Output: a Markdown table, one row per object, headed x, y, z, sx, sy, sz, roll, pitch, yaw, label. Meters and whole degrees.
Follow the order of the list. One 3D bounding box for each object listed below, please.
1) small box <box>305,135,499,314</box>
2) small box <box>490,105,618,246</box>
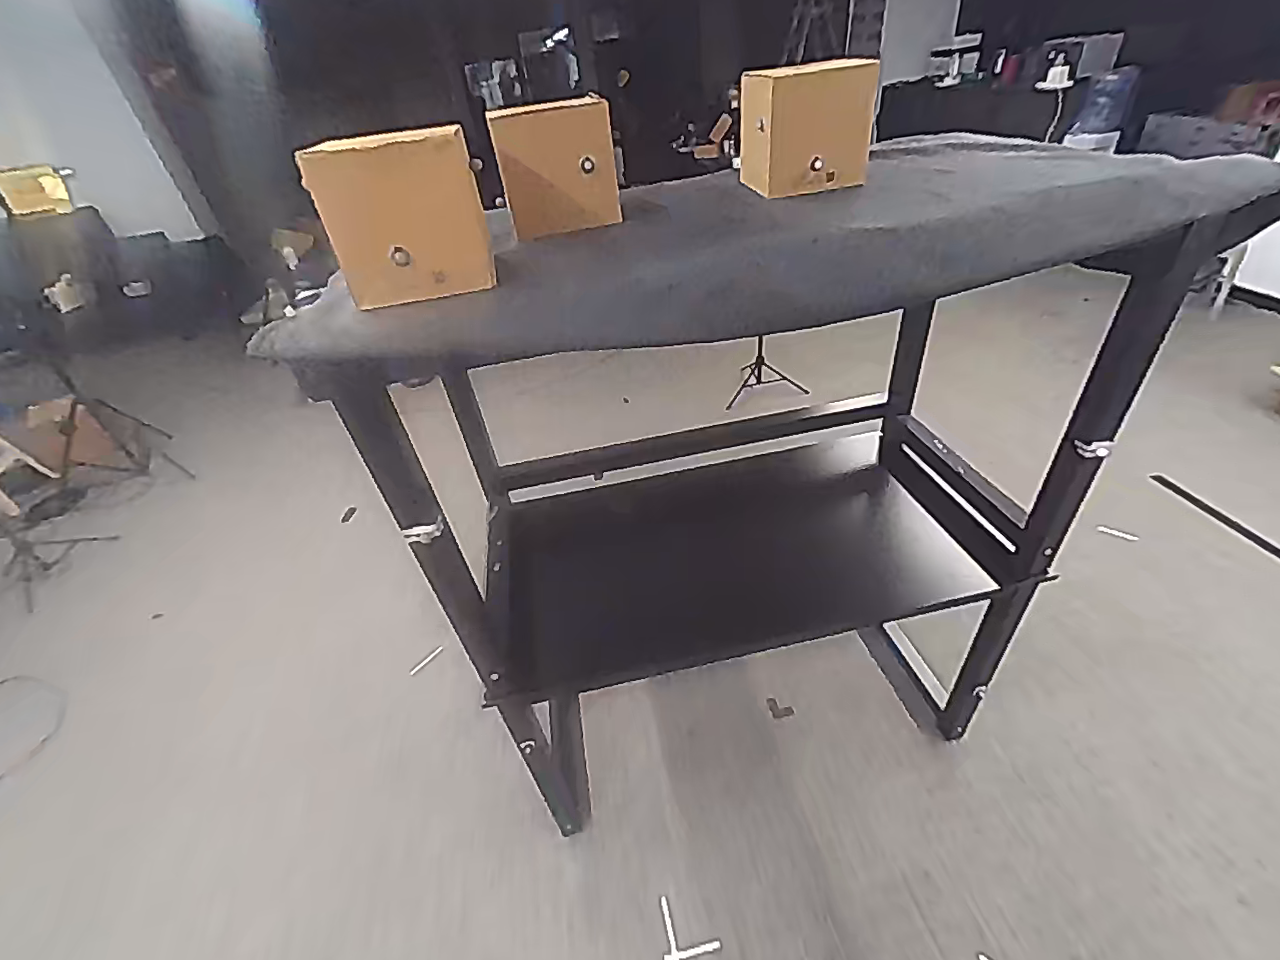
| x | y | z | sx | sy | sz | roll | pitch | yaw | label |
| --- | --- | --- | --- | --- | --- | --- | --- | --- | --- |
| -0.281 | -0.325 | 0.684 | 0.168 | 0.176 | 0.179 | -13 | 37 | -7 | small box |
| -0.137 | -0.498 | 0.882 | 0.179 | 0.176 | 0.168 | -13 | 38 | -8 | small box |
